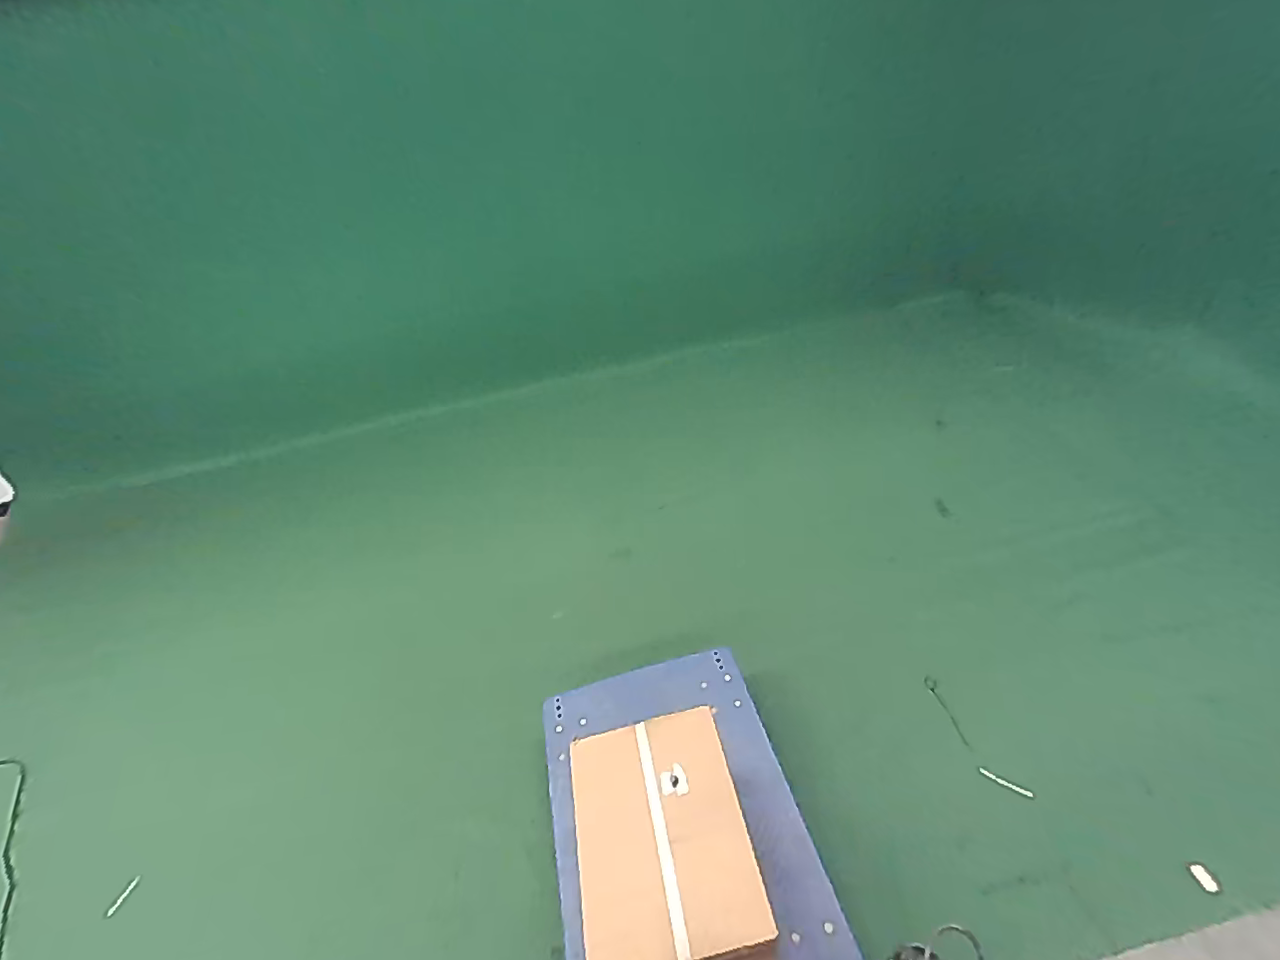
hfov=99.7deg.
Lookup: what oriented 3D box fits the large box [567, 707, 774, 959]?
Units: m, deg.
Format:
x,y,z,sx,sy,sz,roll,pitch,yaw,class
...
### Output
x,y,z,sx,sy,sz,roll,pitch,yaw,class
0.053,0.759,1.102,0.320,0.320,0.408,-13,38,-3,large box
